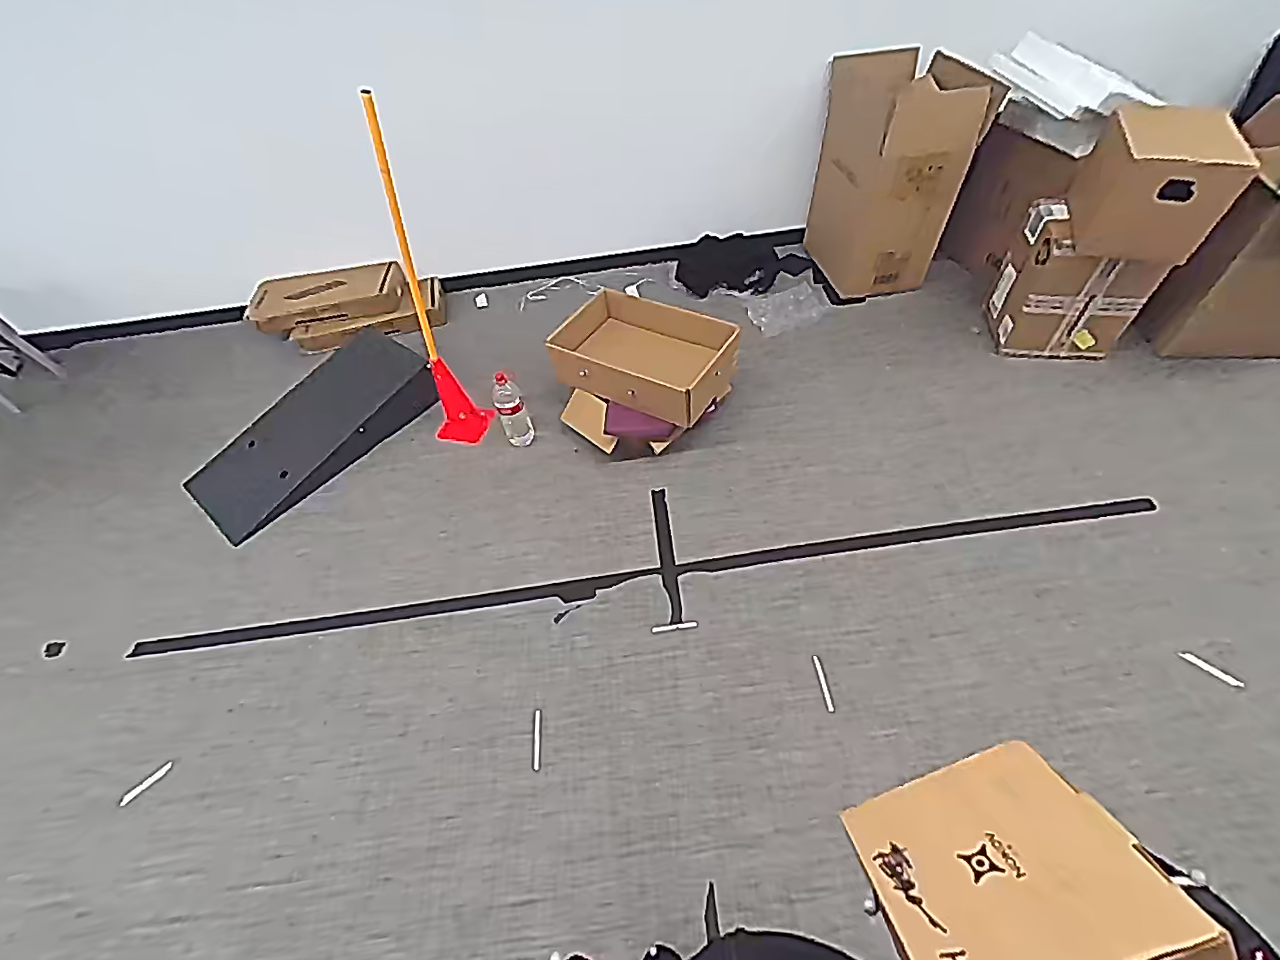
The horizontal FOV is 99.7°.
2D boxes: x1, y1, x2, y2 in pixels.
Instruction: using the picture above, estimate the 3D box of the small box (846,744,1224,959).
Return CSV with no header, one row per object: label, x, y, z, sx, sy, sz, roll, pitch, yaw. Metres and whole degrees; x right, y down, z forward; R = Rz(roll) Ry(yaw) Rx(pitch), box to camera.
small box,0.299,0.358,0.427,0.179,0.176,0.168,-24,12,3
